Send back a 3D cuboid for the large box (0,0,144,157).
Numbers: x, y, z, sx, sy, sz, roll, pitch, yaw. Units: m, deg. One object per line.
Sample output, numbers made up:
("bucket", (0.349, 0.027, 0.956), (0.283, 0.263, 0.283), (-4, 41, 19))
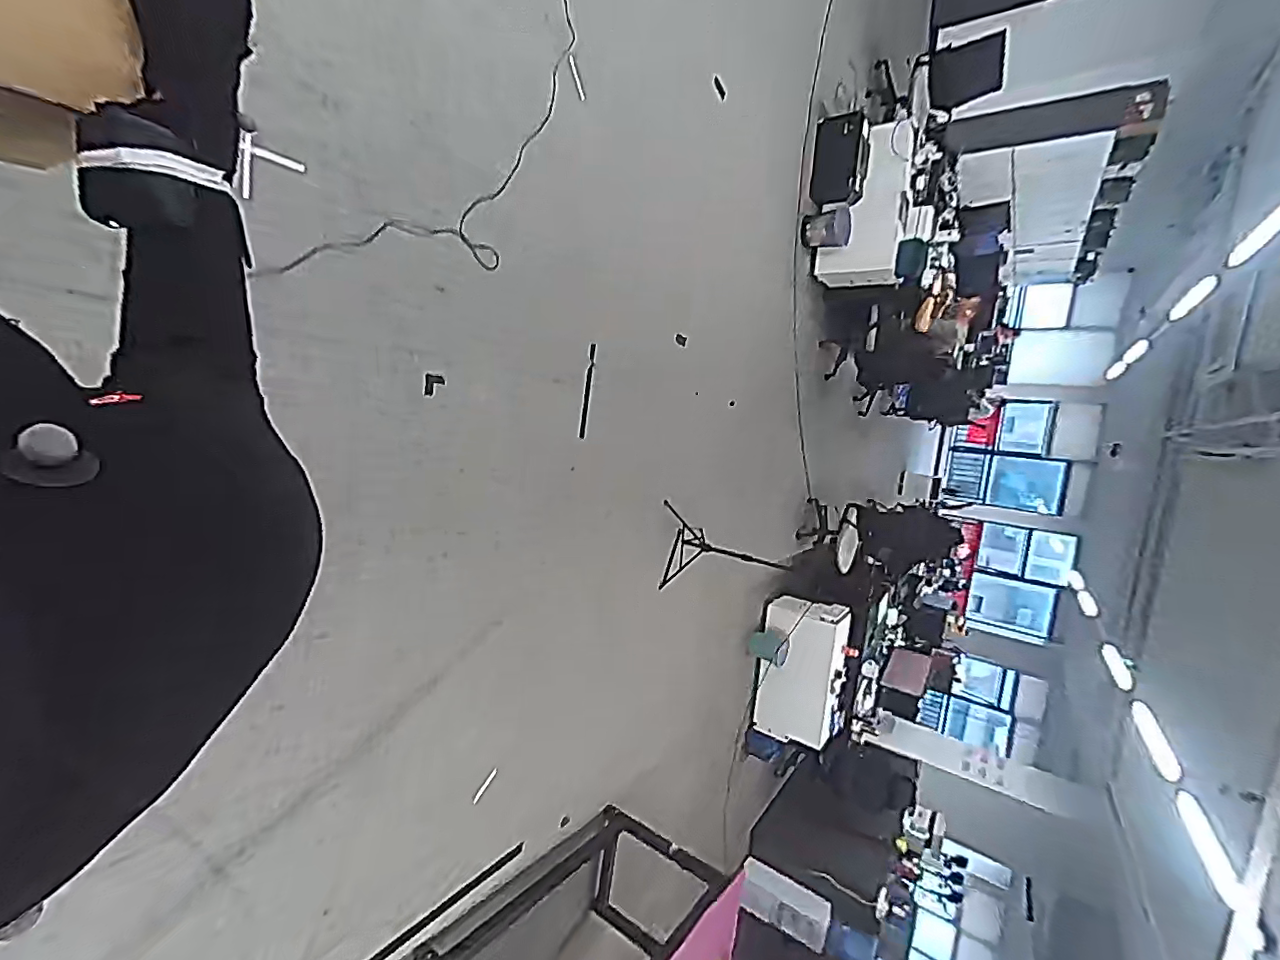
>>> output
("large box", (-0.562, -0.408, 0.262), (0.408, 0.320, 0.320), (-10, 112, -56))
